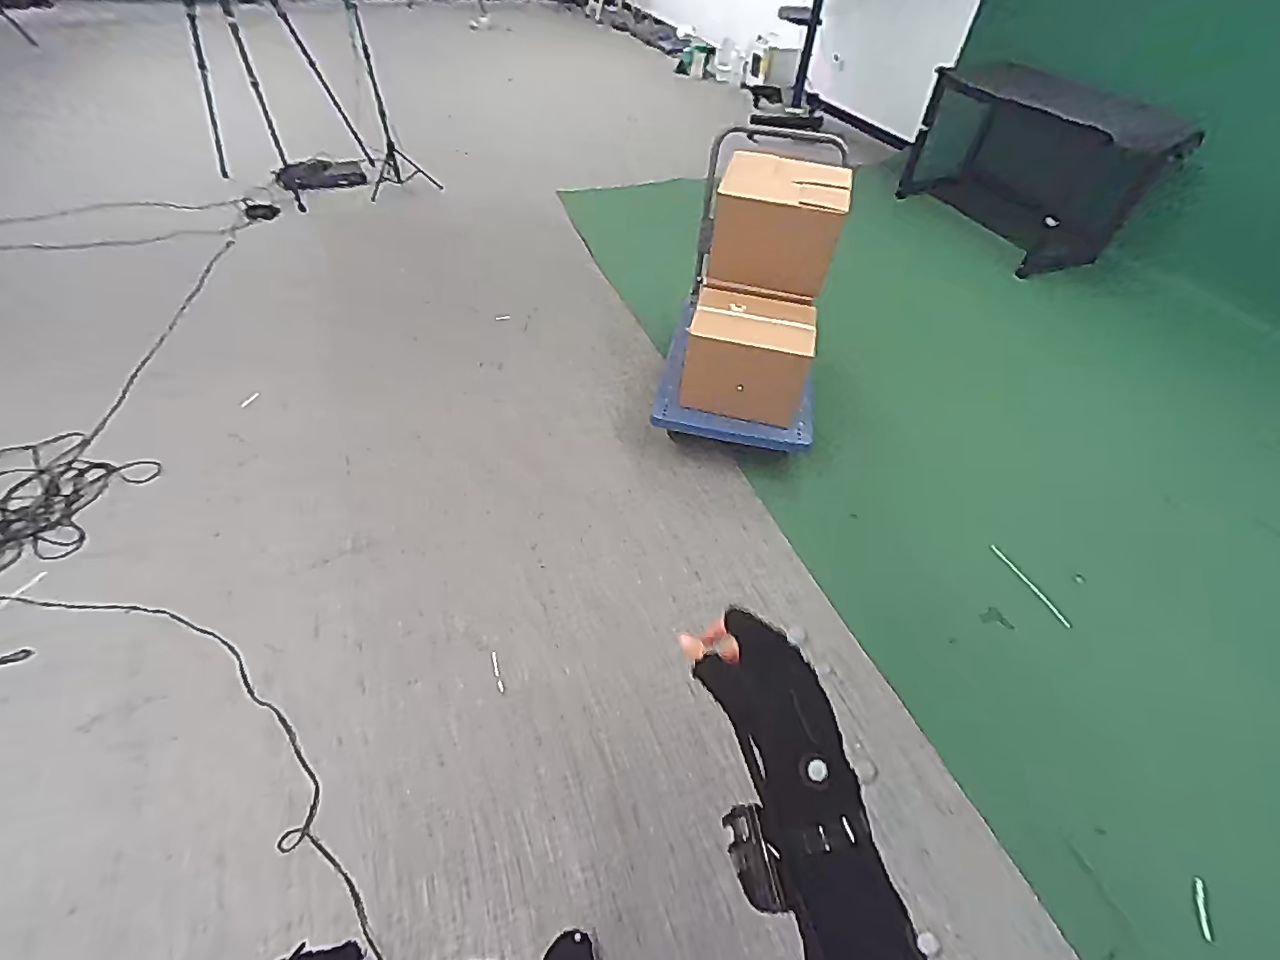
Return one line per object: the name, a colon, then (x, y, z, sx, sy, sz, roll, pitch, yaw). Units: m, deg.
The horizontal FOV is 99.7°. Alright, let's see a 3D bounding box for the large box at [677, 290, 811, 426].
large box: (0.365, -0.430, 1.912, 0.408, 0.320, 0.320, 12, 48, 8)
